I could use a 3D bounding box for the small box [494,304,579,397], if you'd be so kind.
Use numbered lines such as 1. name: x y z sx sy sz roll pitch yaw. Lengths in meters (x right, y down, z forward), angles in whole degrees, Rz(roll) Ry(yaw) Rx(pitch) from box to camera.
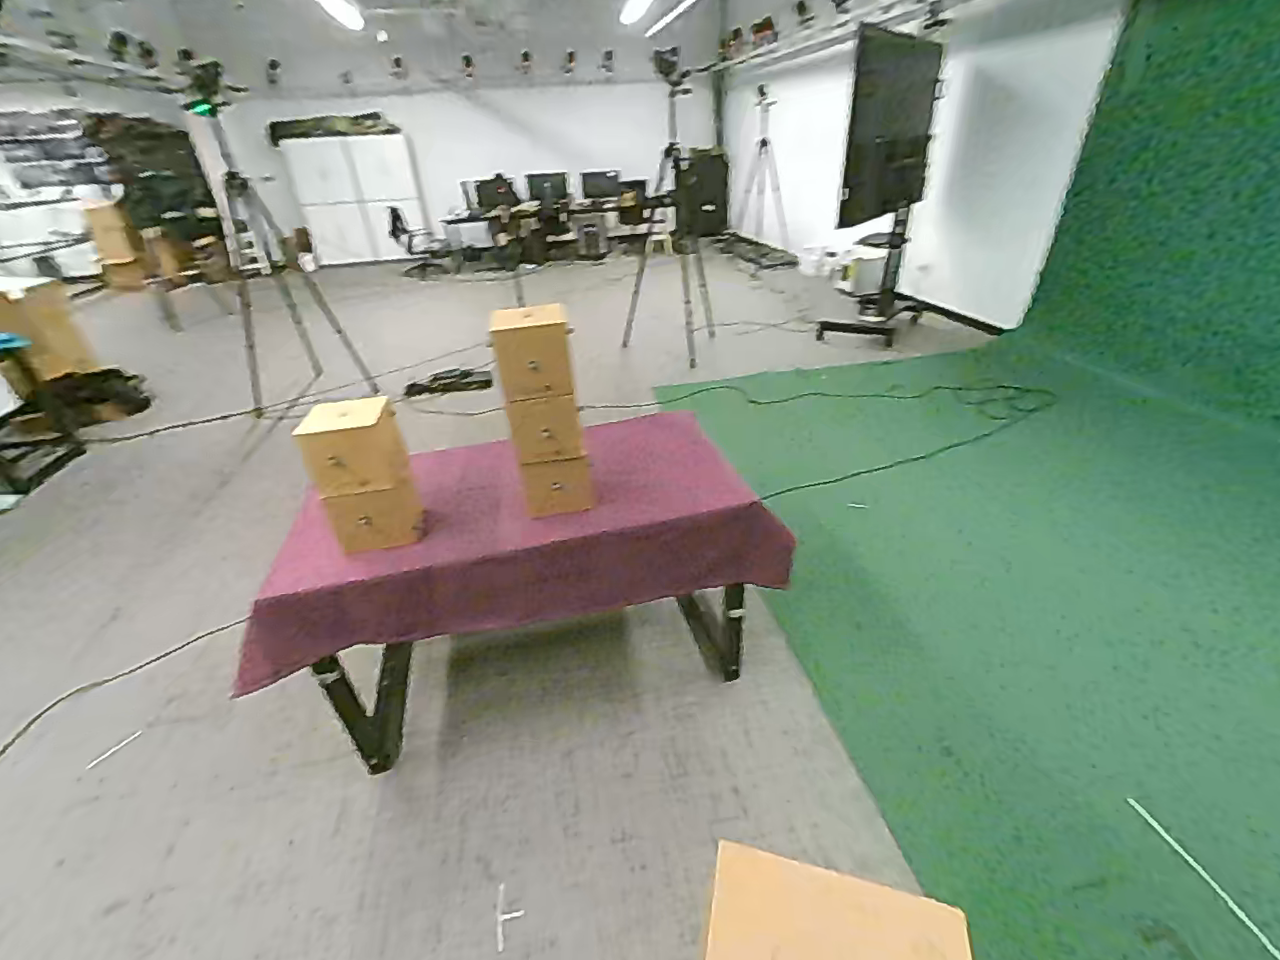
1. small box: -0.237 -0.299 1.266 0.168 0.176 0.179 -8 31 -6

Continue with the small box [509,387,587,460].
1. small box: -0.226 -0.160 1.354 0.168 0.176 0.179 -7 32 -5

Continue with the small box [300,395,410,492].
1. small box: -0.656 -0.081 1.271 0.168 0.176 0.179 -9 31 -8

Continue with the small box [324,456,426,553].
1. small box: -0.650 0.059 1.354 0.179 0.176 0.168 -10 32 -9
